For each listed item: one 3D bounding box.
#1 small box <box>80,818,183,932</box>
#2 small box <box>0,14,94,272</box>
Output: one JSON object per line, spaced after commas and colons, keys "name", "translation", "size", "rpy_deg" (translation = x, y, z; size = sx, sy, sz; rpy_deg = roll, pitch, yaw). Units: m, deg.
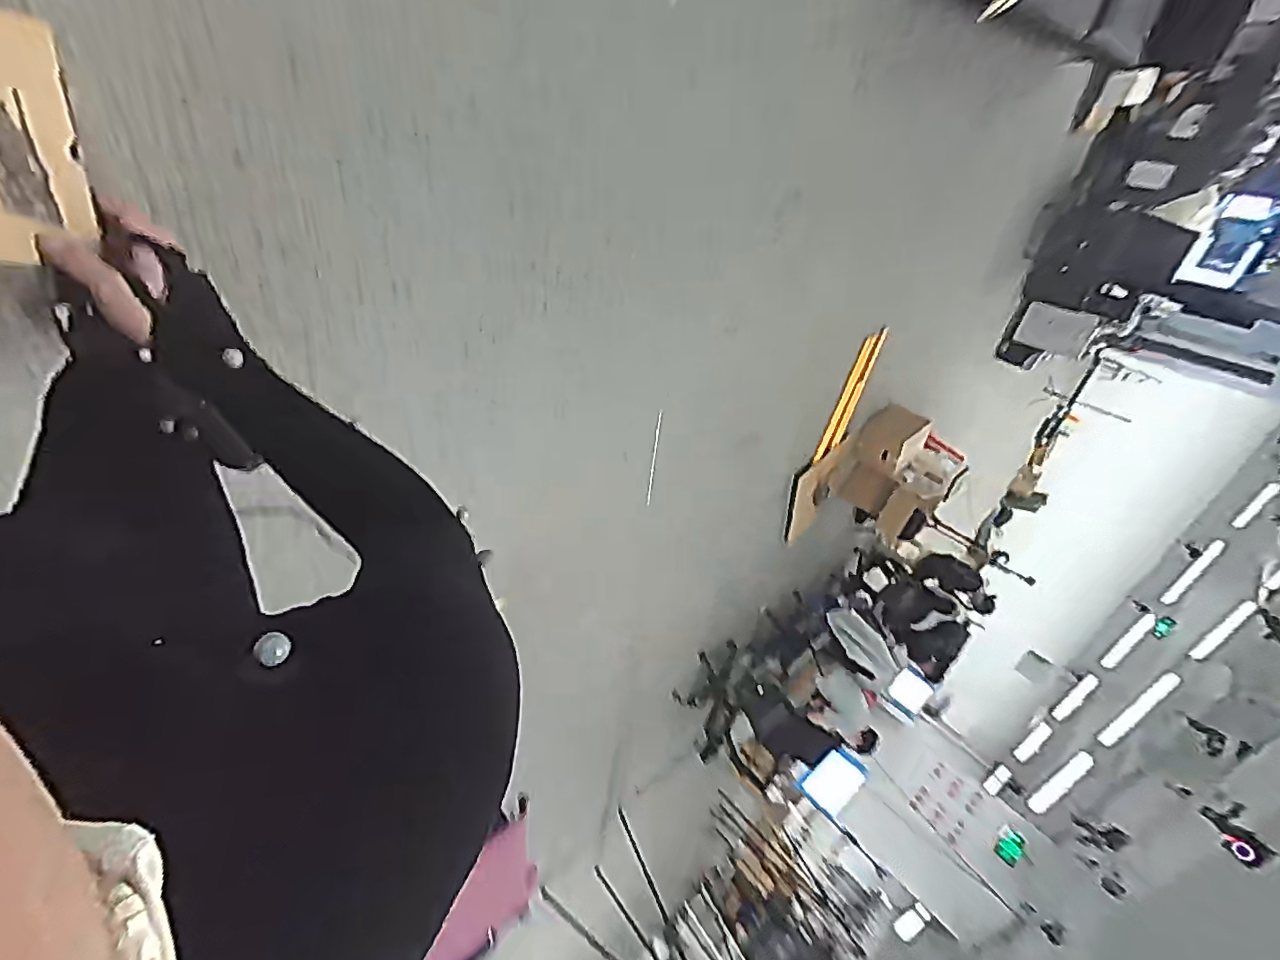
{"name": "small box", "translation": [-1.461, 1.124, 1.553], "size": [0.179, 0.176, 0.168], "rpy_deg": [-20, 132, -38]}
{"name": "small box", "translation": [-0.542, -0.248, 0.379], "size": [0.179, 0.176, 0.168], "rpy_deg": [-21, 126, -49]}
